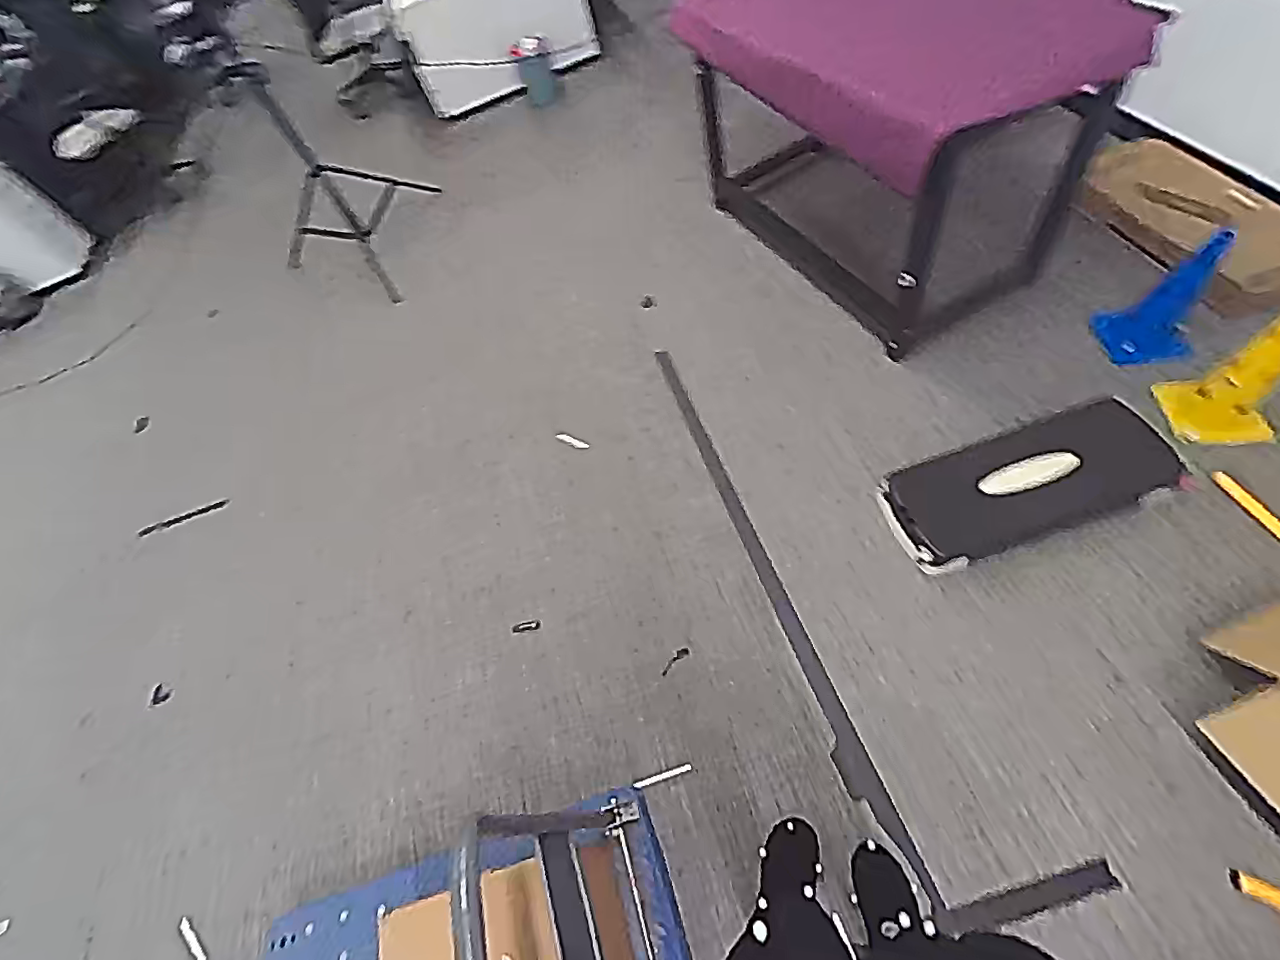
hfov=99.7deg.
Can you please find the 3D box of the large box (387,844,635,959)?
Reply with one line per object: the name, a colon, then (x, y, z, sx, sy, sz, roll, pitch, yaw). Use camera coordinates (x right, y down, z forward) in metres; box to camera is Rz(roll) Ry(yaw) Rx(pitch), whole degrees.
large box: (-0.182, 0.886, 0.895, 0.320, 0.320, 0.408, -21, 55, 1)
